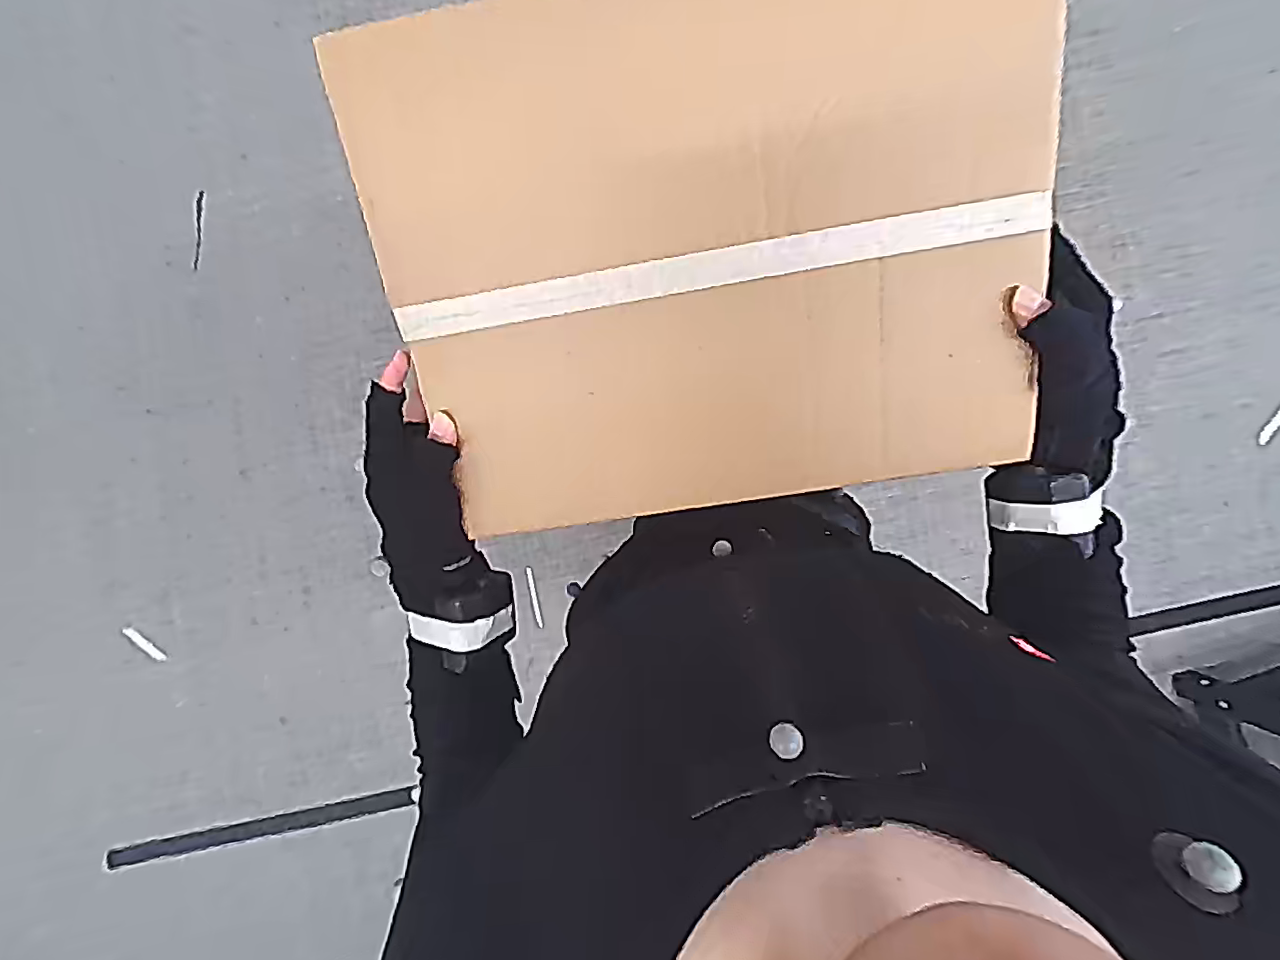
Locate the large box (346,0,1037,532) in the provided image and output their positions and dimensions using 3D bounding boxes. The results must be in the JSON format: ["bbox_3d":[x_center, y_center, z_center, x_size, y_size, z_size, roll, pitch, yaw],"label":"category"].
[{"bbox_3d":[0.046,-0.180,0.491,0.408,0.320,0.320,-8,110,4],"label":"large box"}]
